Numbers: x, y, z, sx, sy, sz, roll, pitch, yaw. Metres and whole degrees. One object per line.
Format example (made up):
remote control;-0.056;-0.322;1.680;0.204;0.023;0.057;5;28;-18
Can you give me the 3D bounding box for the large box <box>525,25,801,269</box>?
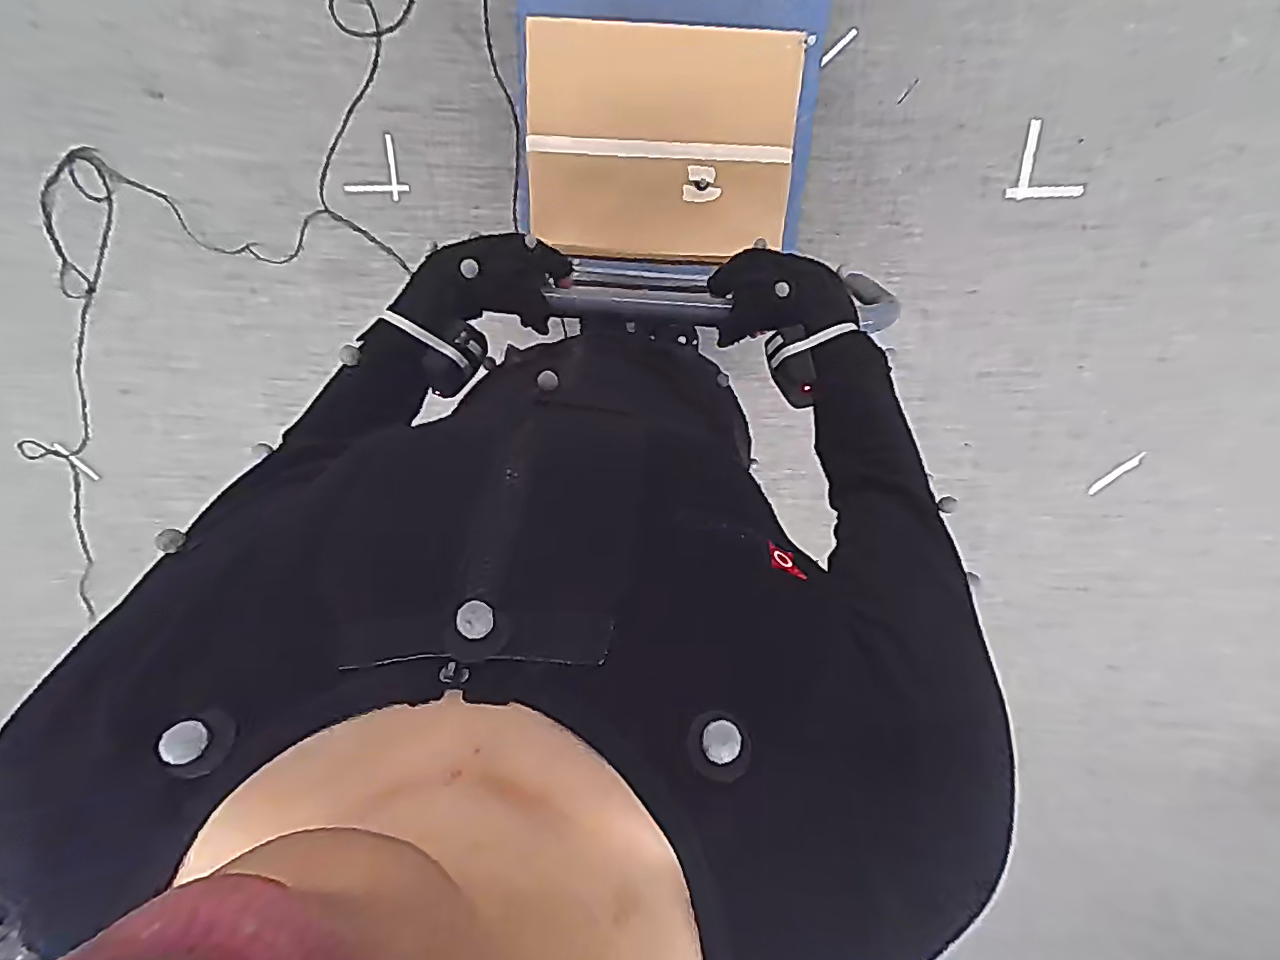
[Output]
large box;0.027;-0.549;0.962;0.408;0.320;0.320;2;111;-1
